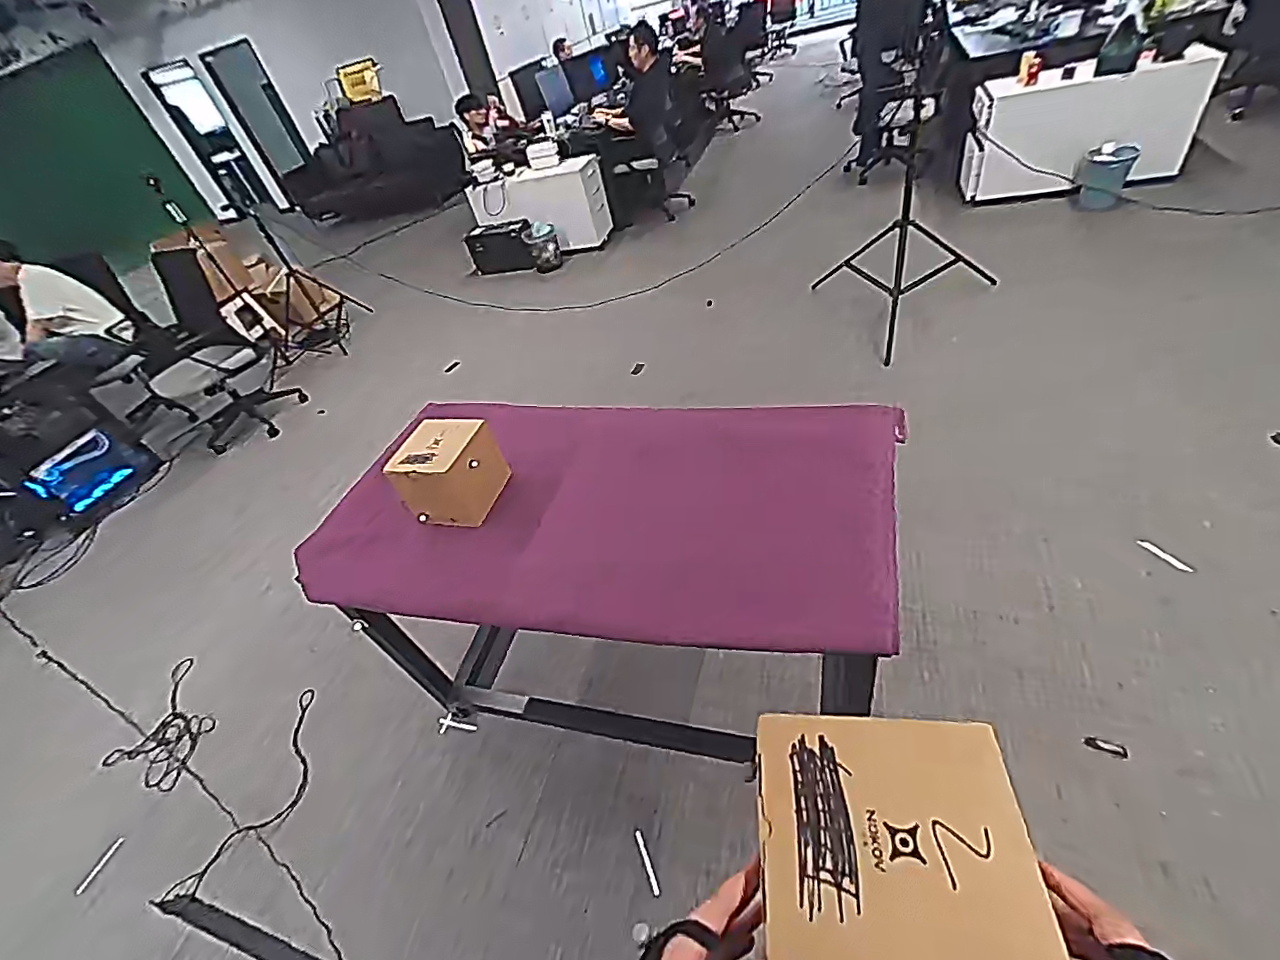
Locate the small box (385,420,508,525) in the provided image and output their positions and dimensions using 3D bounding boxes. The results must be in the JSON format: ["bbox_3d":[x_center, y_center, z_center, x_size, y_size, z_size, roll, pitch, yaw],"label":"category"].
[{"bbox_3d":[-0.422,-0.016,1.218,0.168,0.176,0.179,3,45,20],"label":"small box"}]
